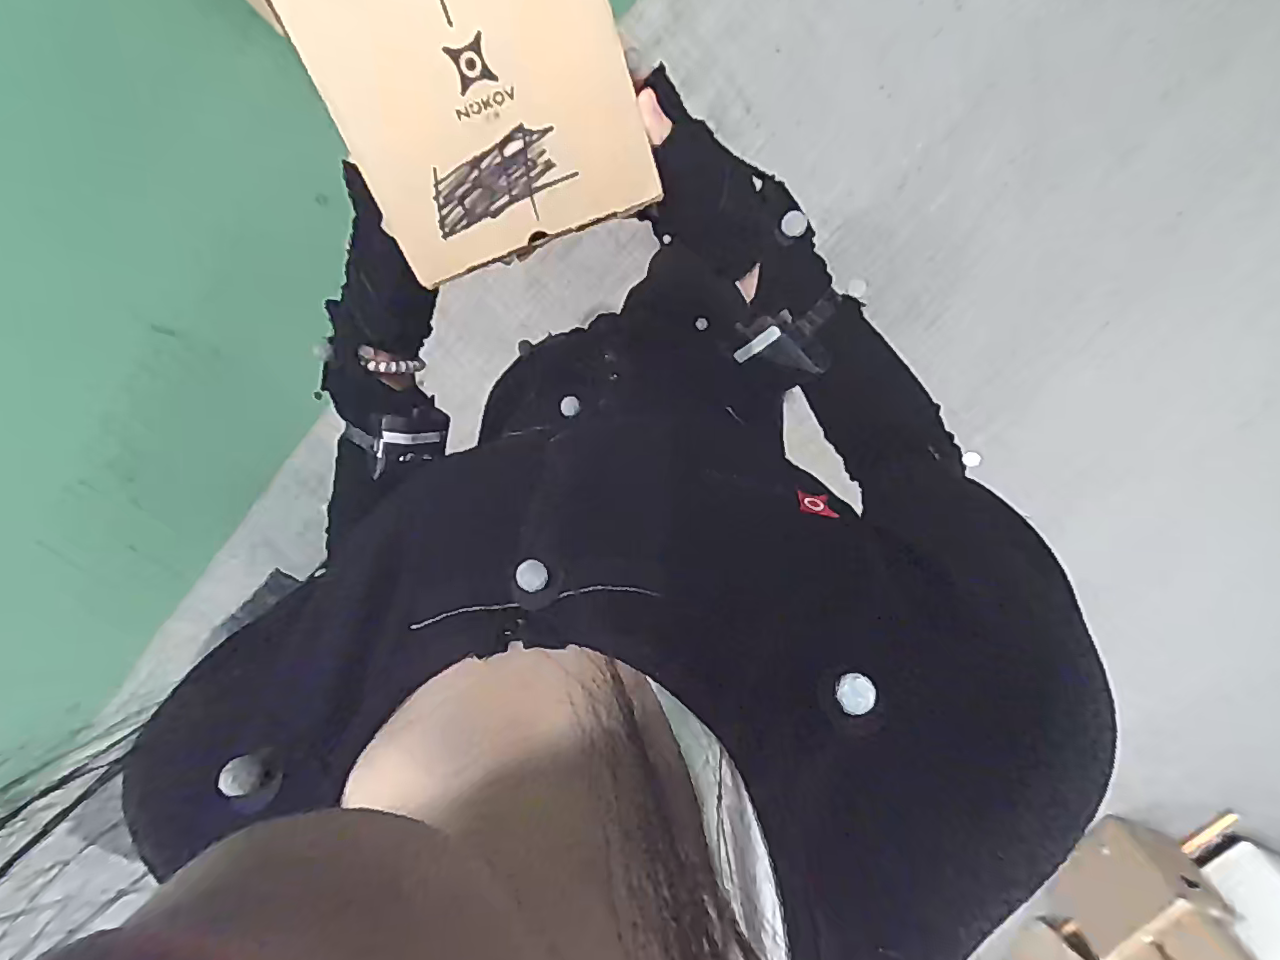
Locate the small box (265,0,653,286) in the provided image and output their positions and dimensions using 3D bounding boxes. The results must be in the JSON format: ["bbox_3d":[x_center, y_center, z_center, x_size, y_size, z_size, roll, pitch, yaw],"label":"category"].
[{"bbox_3d":[-0.098,-0.259,0.366,0.168,0.176,0.179,-19,119,6],"label":"small box"}]
